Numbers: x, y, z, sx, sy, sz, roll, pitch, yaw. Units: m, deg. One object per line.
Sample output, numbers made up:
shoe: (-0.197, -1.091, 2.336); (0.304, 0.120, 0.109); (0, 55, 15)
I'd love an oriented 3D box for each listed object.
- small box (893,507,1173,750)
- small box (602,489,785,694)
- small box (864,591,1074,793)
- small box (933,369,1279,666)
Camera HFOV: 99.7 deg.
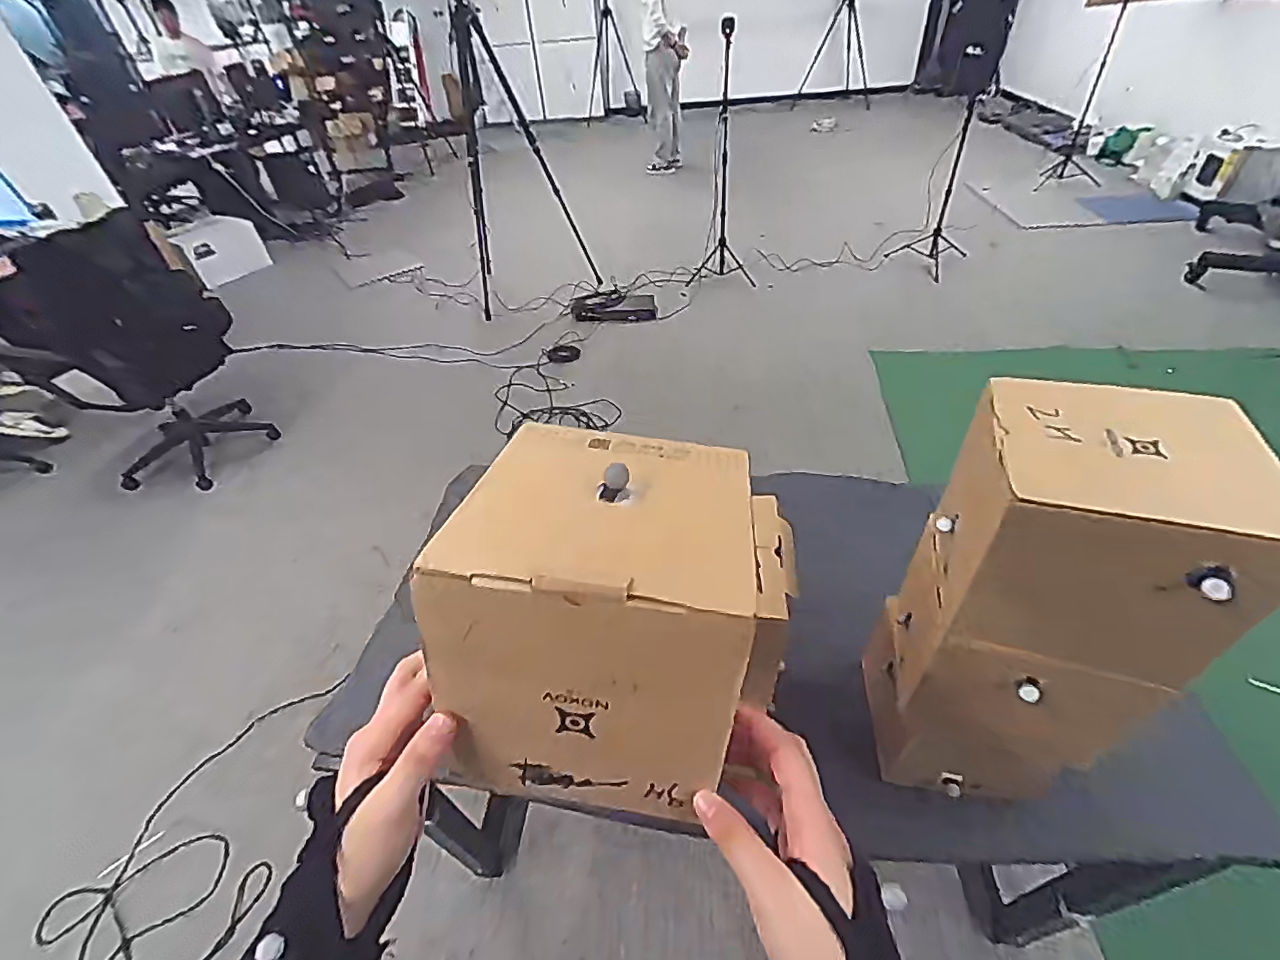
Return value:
small box: (0.377, 0.153, 0.562); (0.179, 0.176, 0.168); (8, 44, 17)
small box: (0.064, 0.129, 0.623); (0.179, 0.176, 0.168); (1, 42, 8)
small box: (0.393, 0.263, 0.681); (0.168, 0.176, 0.179); (1, 43, 9)
small box: (0.365, 0.030, 0.453); (0.179, 0.176, 0.168); (10, 44, 18)
